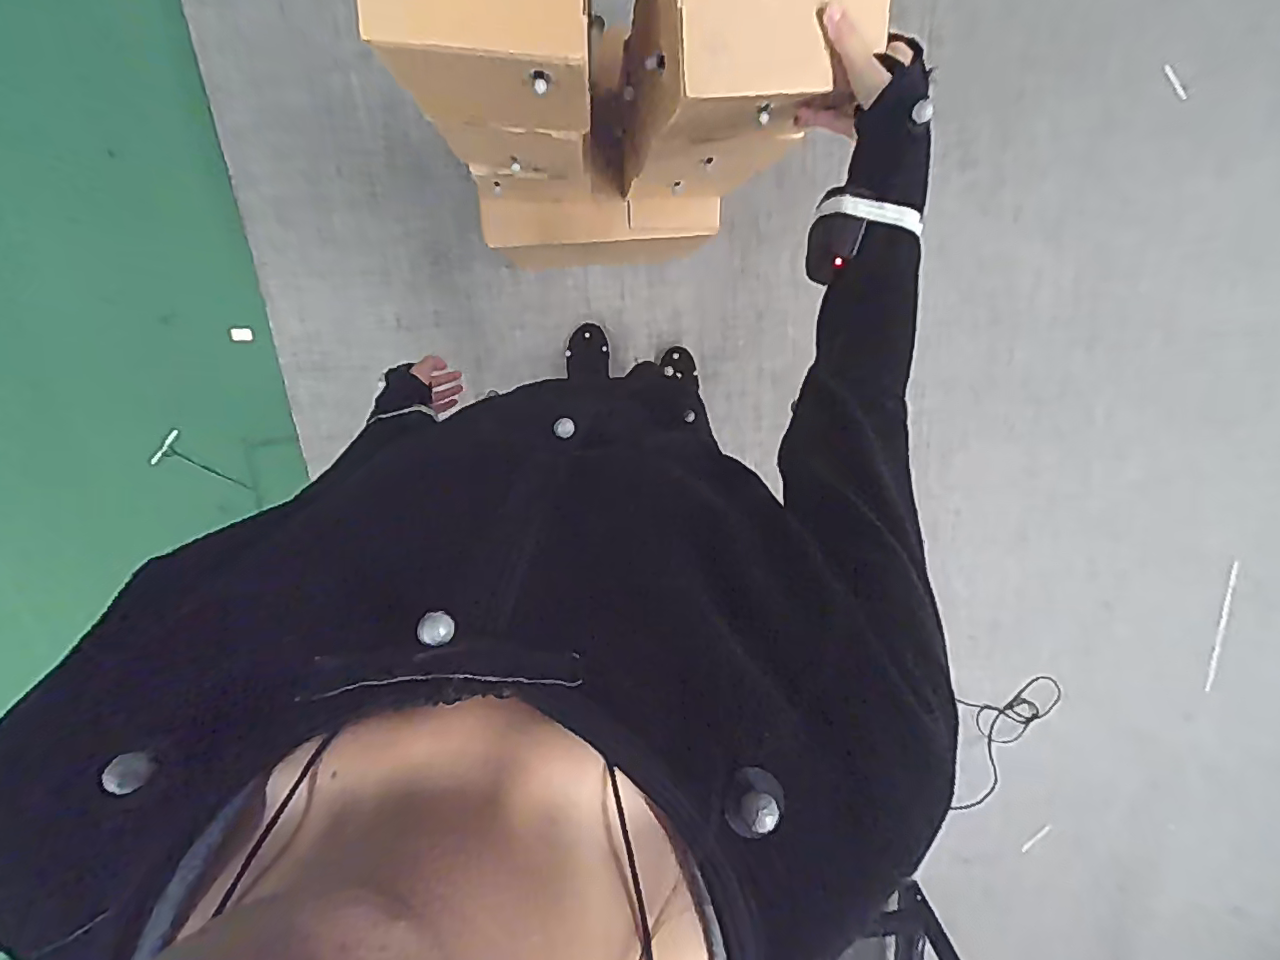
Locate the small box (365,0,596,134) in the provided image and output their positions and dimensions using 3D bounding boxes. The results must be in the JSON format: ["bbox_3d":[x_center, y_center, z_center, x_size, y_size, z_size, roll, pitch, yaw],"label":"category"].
[{"bbox_3d":[-0.129,-0.435,0.488,0.179,0.176,0.168,1,106,-5],"label":"small box"}]
